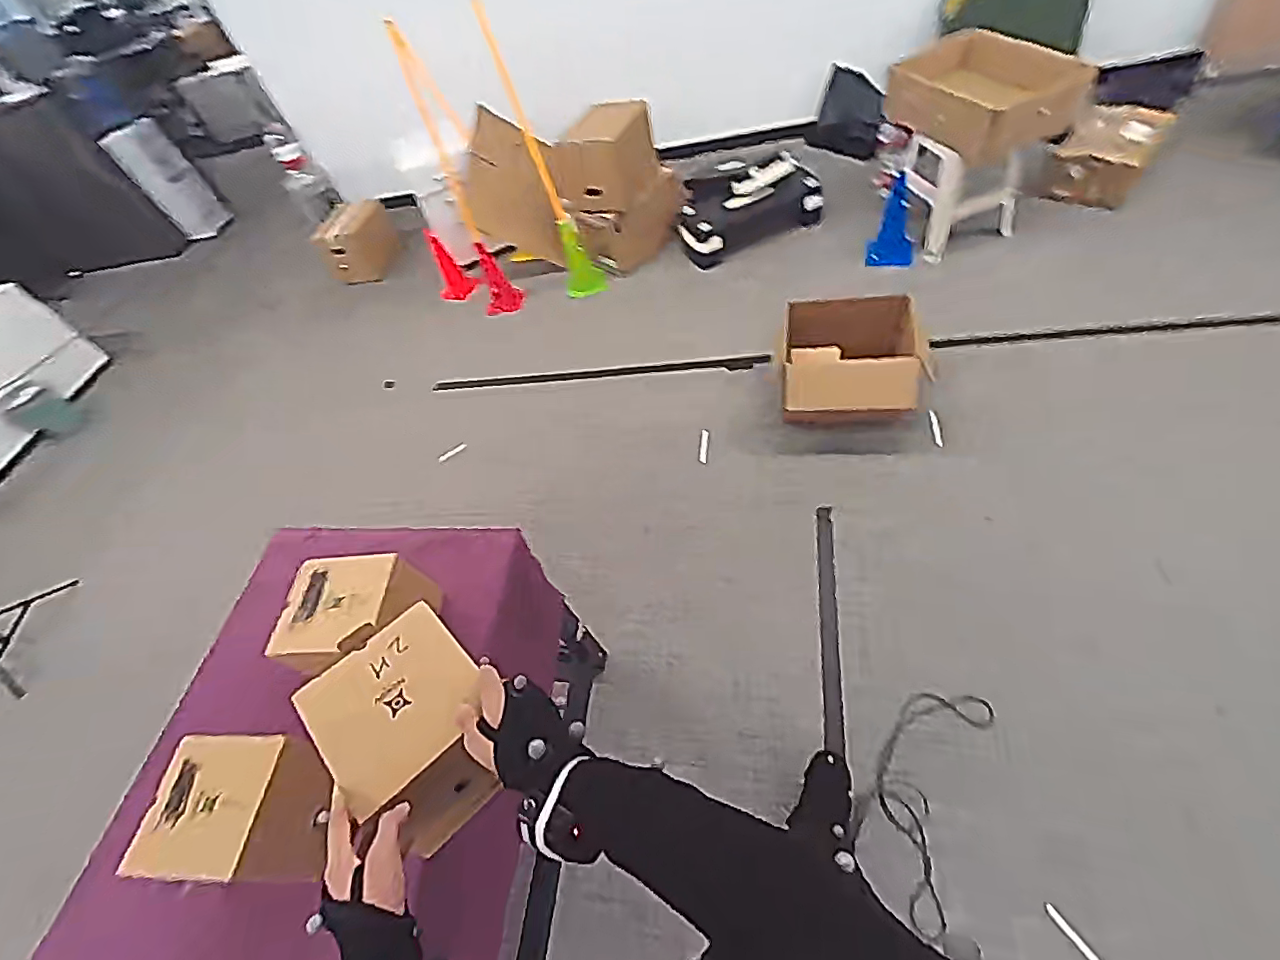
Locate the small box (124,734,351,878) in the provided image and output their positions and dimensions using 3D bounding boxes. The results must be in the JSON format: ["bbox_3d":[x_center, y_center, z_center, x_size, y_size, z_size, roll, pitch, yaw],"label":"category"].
[{"bbox_3d":[-0.567,0.479,0.794,0.179,0.176,0.168,-5,54,11],"label":"small box"}]

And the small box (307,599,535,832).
[{"bbox_3d":[-0.250,0.286,0.651,0.168,0.176,0.179,-37,52,-26],"label":"small box"}]
